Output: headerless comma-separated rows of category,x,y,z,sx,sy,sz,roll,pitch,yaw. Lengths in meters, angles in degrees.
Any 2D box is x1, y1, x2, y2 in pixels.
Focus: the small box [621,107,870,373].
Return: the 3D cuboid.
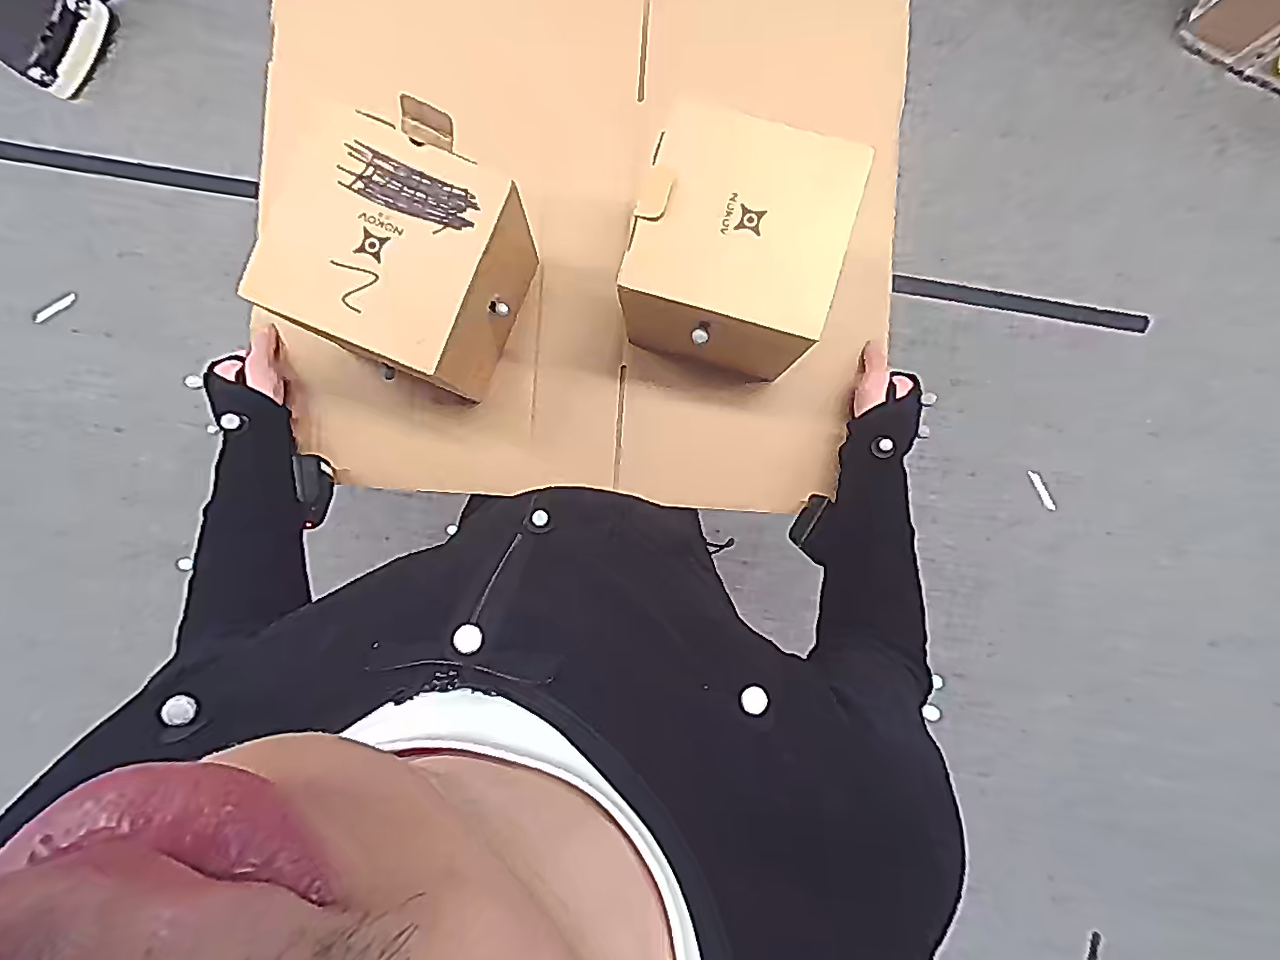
small box,0.093,-0.216,0.537,0.179,0.176,0.168,16,90,3
